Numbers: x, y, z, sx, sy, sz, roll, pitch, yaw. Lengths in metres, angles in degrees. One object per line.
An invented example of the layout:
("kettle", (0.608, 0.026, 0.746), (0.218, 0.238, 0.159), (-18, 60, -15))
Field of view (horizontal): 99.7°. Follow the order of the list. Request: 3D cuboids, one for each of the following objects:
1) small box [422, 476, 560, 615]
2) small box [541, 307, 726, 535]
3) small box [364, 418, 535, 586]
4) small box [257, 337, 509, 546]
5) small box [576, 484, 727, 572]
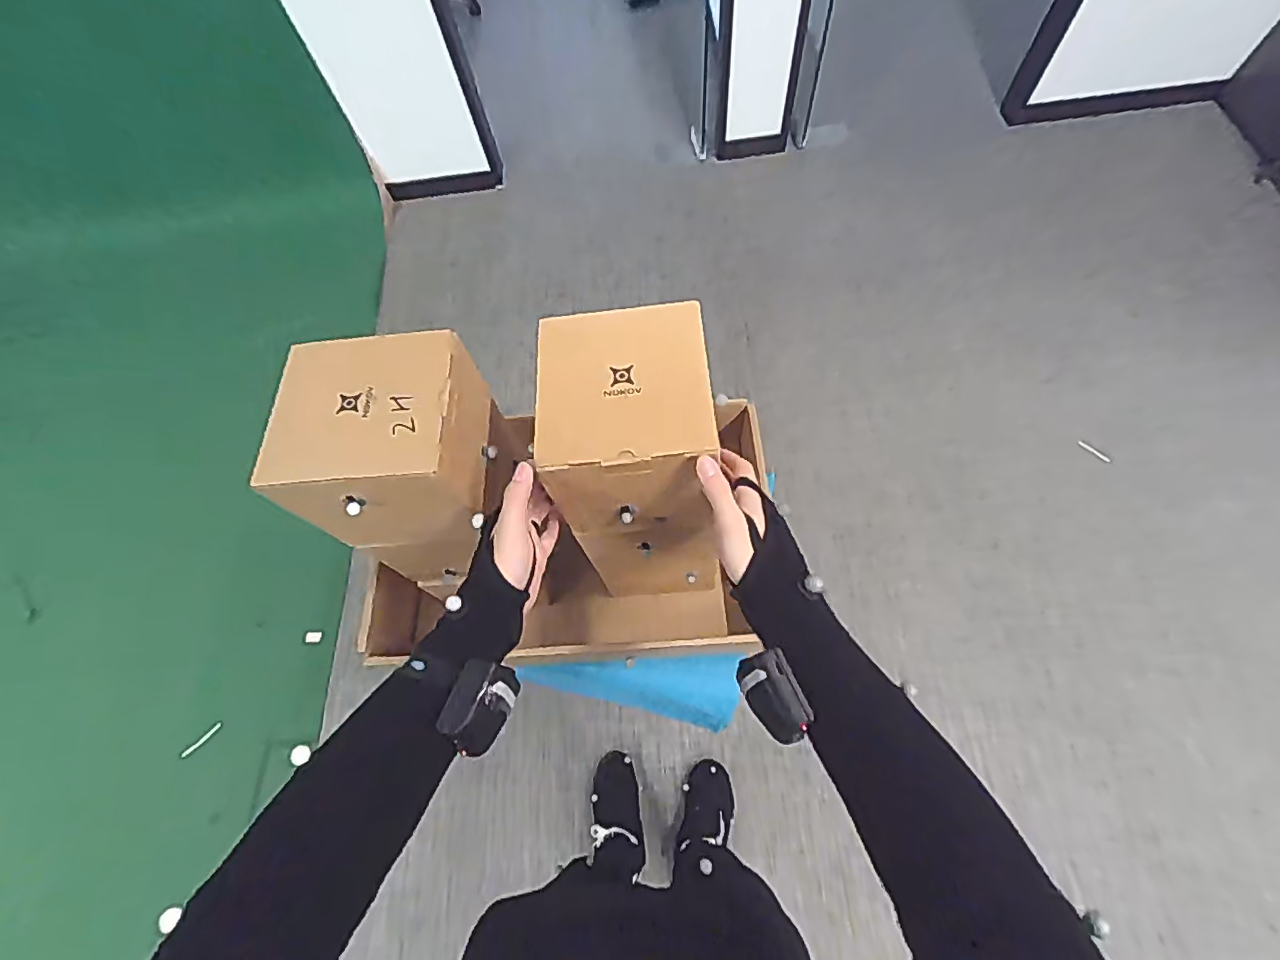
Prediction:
("small box", (-0.231, 0.111, 0.885), (0.168, 0.176, 0.179), (-4, 63, 3))
("small box", (-0.004, -0.055, 0.580), (0.168, 0.176, 0.179), (-5, 64, 4))
("small box", (-0.246, 0.036, 0.742), (0.168, 0.176, 0.179), (-4, 64, 3))
("small box", (-0.259, -0.032, 0.593), (0.179, 0.176, 0.168), (-4, 63, 3))
("small box", (0.016, 0.018, 0.723), (0.179, 0.176, 0.168), (-6, 63, 5))
